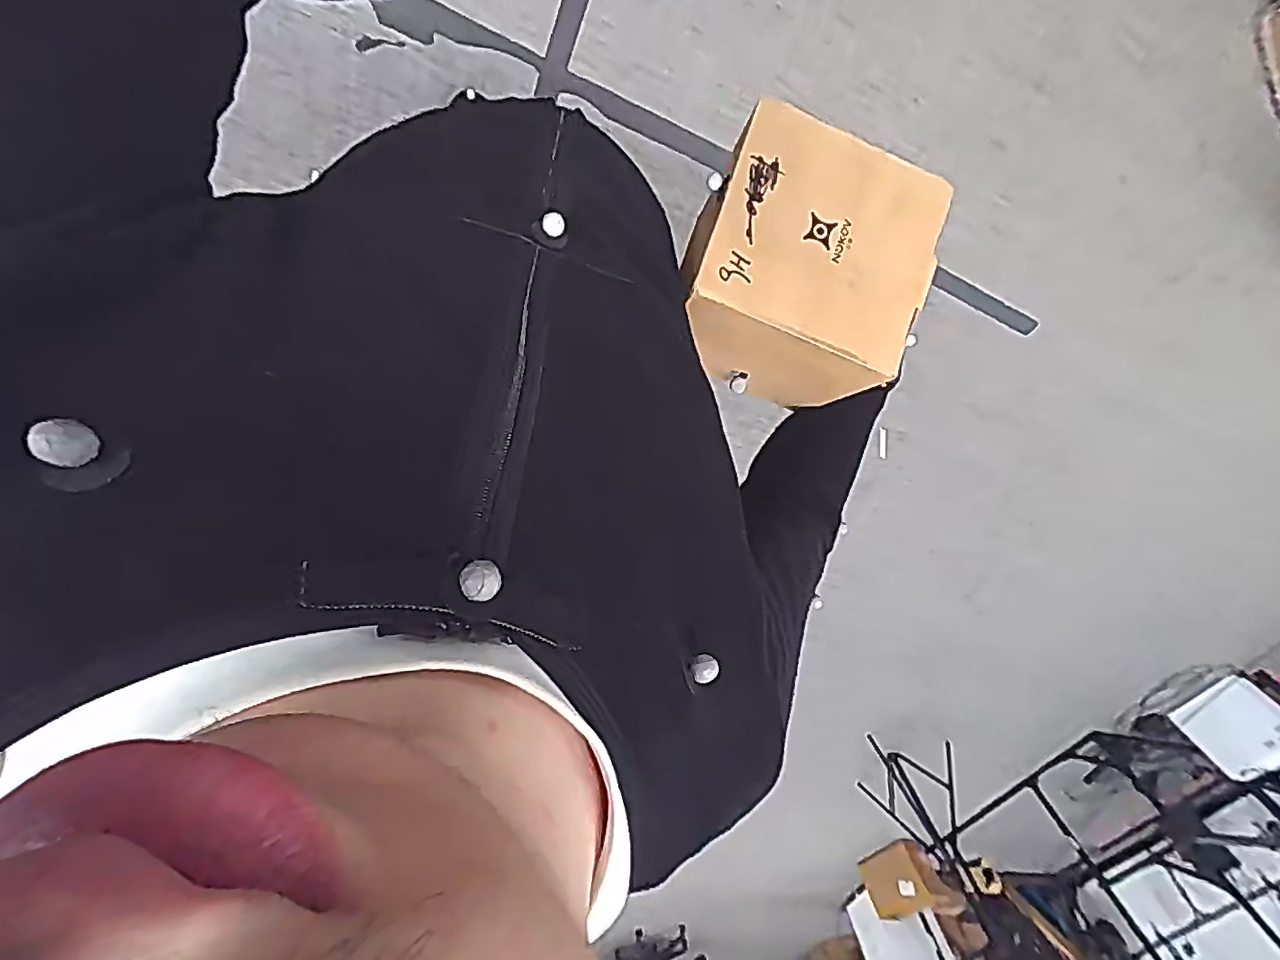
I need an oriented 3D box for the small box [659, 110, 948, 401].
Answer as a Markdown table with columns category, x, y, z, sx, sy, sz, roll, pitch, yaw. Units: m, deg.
| category | x | y | z | sx | sy | sz | roll | pitch | yaw |
| --- | --- | --- | --- | --- | --- | --- | --- | --- | --- |
| small box | 0.136 | -0.185 | 0.508 | 0.179 | 0.176 | 0.168 | 20 | 84 | -8 |
